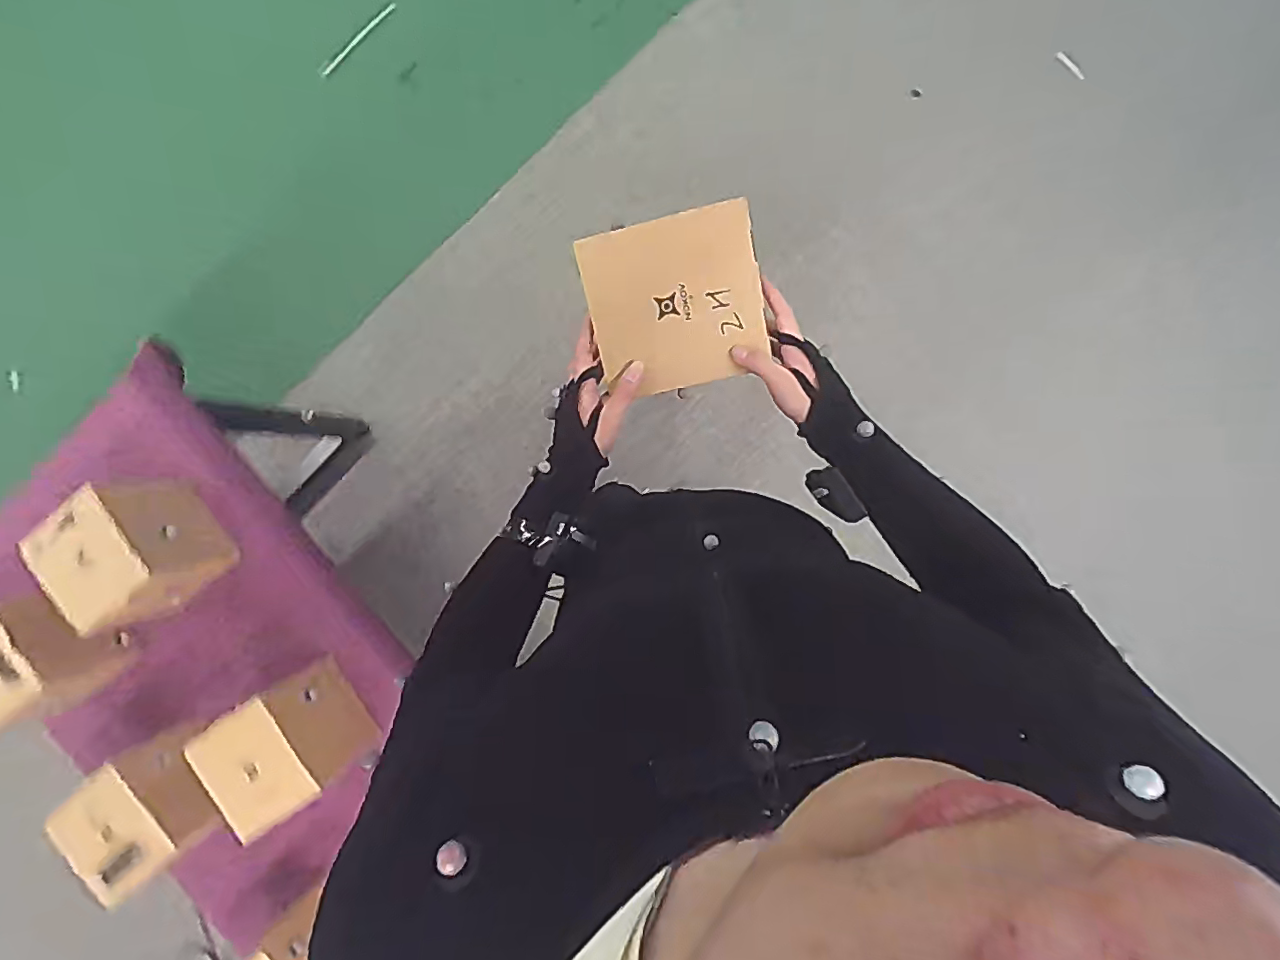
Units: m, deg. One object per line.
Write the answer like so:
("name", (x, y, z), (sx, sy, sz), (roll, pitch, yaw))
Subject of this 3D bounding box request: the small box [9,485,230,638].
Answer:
("small box", (-0.848, 0.123, 0.901), (0.168, 0.176, 0.179), (-37, 90, 6))

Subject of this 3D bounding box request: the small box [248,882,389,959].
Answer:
("small box", (-0.567, 0.839, 0.906), (0.179, 0.176, 0.168), (44, 94, 3))

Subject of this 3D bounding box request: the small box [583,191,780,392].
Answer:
("small box", (0.048, -0.201, 0.611), (0.179, 0.176, 0.168), (-10, 105, 5))

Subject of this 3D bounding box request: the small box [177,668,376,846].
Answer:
("small box", (-0.585, 0.438, 0.893), (0.168, 0.176, 0.179), (-34, 90, 6))

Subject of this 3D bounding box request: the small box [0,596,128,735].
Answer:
("small box", (-1.045, 0.308, 0.924), (0.179, 0.176, 0.168), (-36, 89, 6))
